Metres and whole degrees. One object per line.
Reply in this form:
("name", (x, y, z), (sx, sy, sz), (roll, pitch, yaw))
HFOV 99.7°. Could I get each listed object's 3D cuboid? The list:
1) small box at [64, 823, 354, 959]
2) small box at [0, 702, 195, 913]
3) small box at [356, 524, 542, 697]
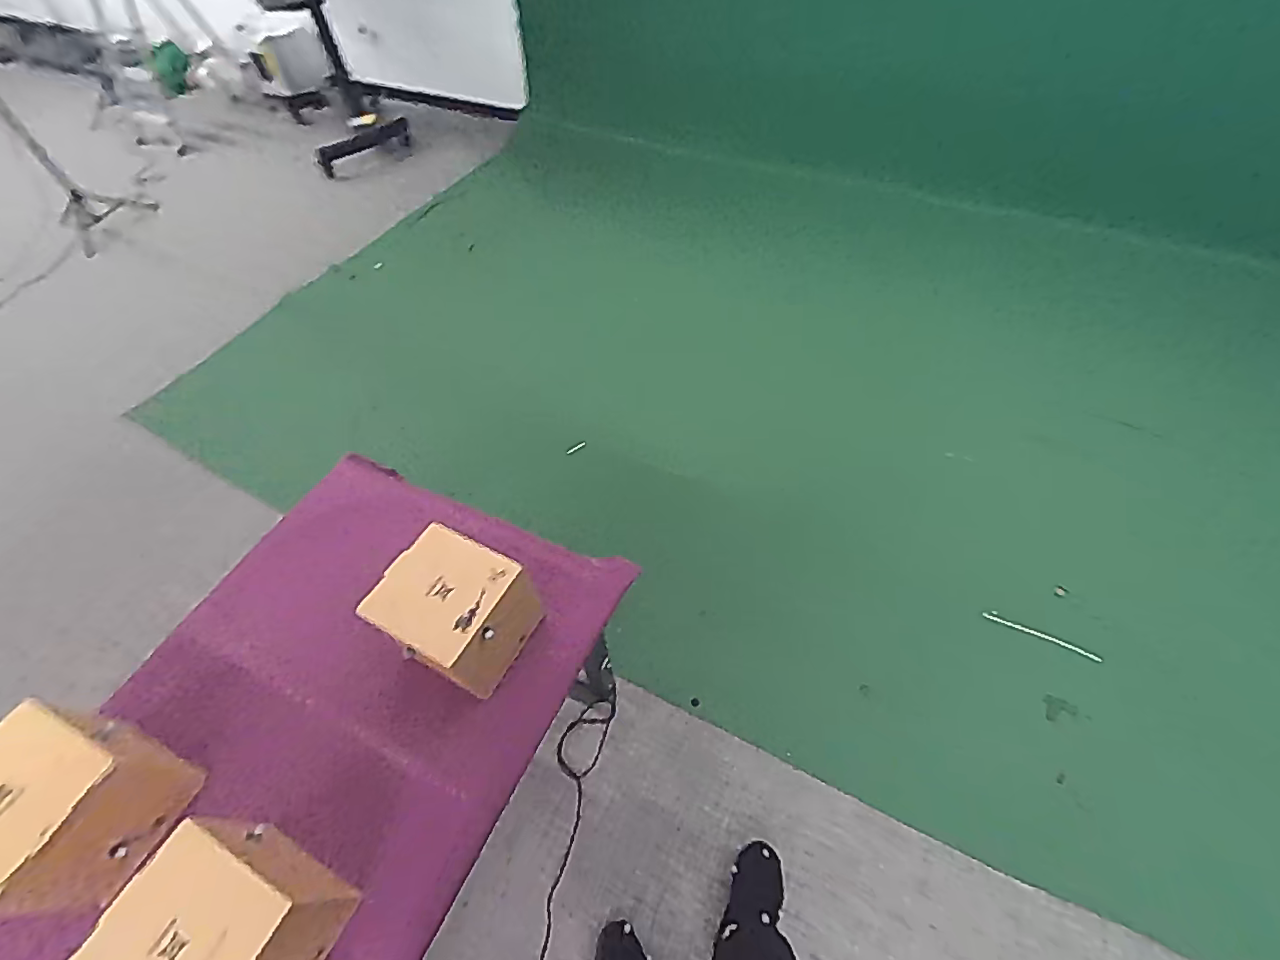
("small box", (-0.467, 0.516, 0.598), (0.179, 0.176, 0.168), (21, 58, 16))
("small box", (-0.734, 0.413, 0.679), (0.179, 0.176, 0.168), (20, 57, 14))
("small box", (-0.275, 0.202, 0.819), (0.179, 0.176, 0.168), (22, 59, 19))
